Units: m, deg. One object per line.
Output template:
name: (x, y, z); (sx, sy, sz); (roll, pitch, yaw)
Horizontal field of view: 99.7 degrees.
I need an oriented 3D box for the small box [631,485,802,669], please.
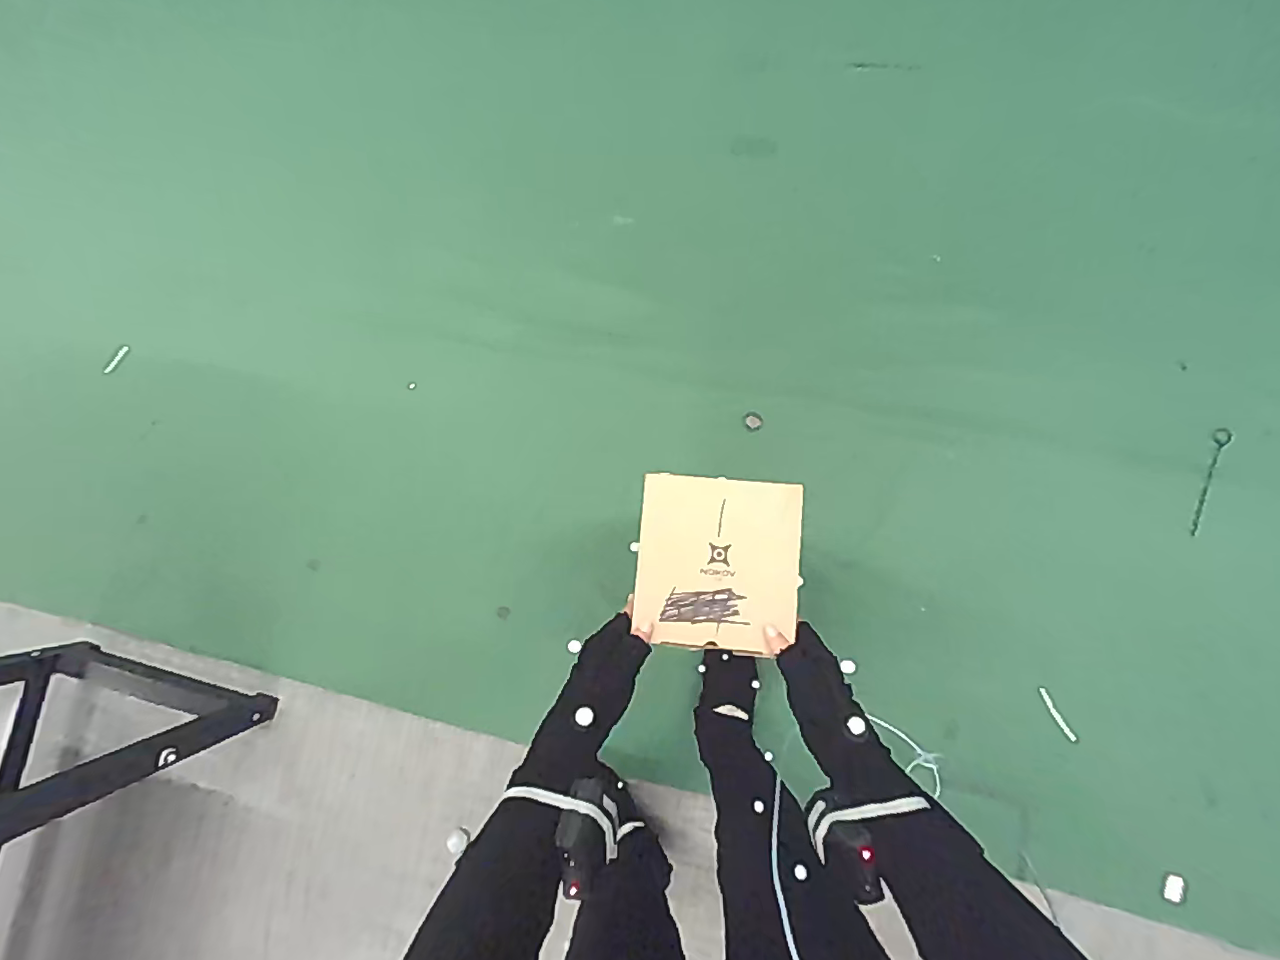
small box: (0.086, 0.108, 0.632); (0.168, 0.176, 0.179); (4, 81, 5)
